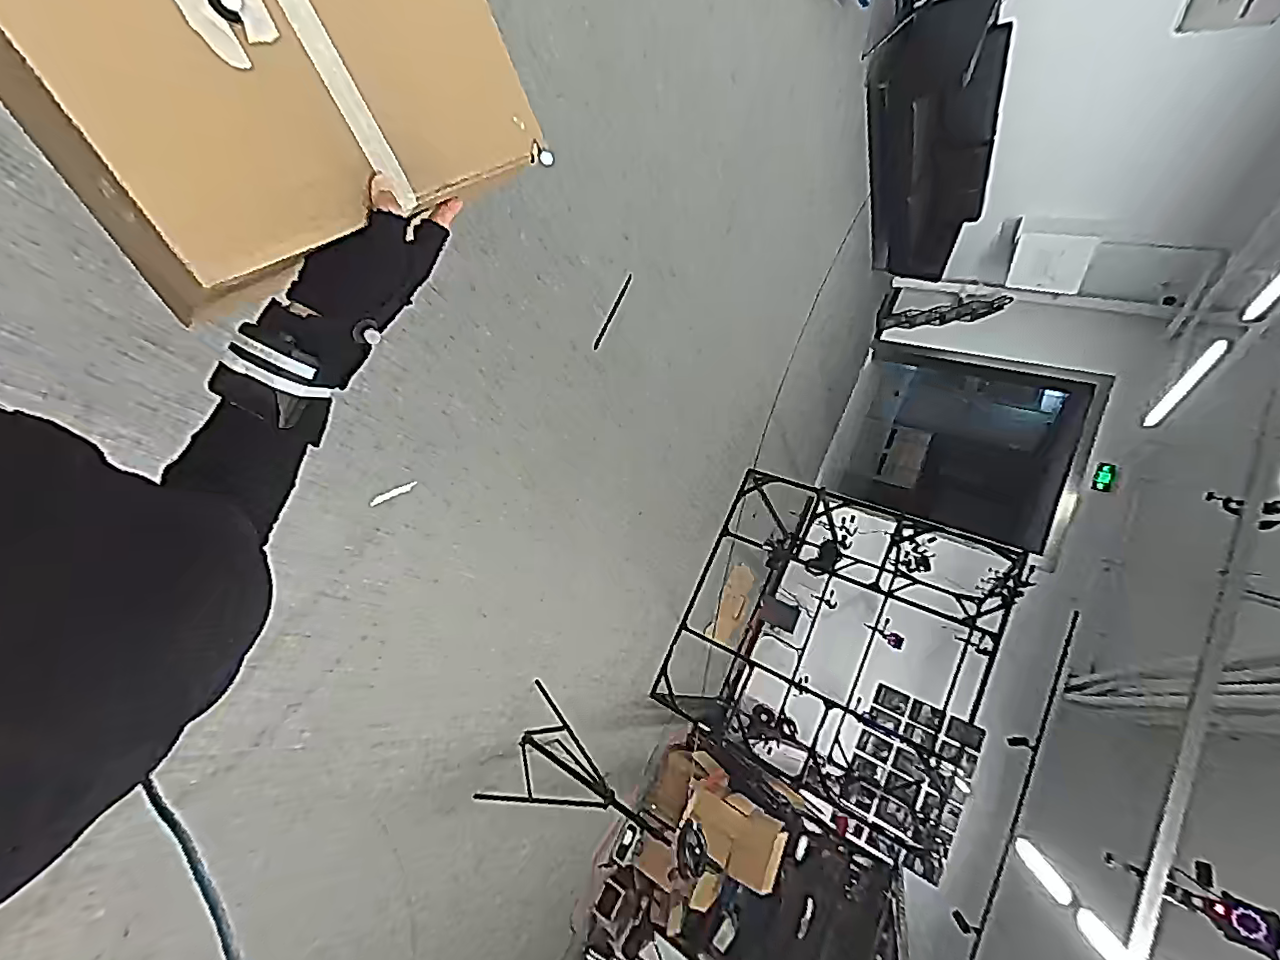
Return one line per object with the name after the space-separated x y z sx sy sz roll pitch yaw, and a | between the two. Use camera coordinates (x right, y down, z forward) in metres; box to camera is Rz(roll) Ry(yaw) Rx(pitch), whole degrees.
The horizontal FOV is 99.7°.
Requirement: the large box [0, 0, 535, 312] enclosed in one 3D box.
-0.372 -0.407 0.462 0.320 0.320 0.408 -42 123 -28 | large box
